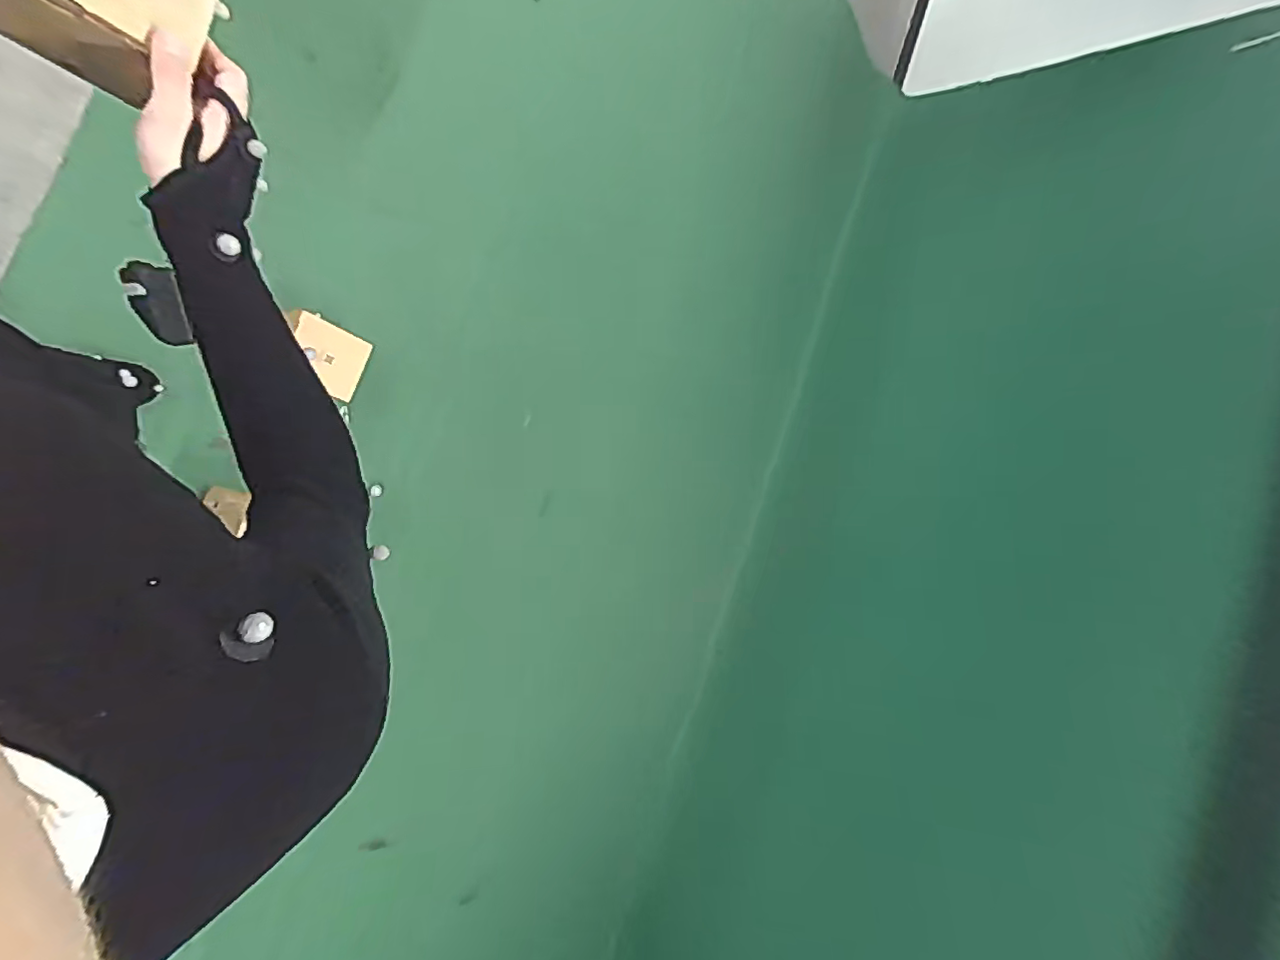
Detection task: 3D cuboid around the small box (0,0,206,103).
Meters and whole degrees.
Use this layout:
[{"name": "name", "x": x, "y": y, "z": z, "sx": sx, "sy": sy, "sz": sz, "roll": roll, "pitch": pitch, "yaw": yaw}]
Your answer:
[{"name": "small box", "x": -0.424, "y": -0.423, "z": 0.396, "sx": 0.168, "sy": 0.176, "sz": 0.179, "roll": 15, "pitch": 92, "yaw": -50}]

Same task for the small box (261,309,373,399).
[{"name": "small box", "x": -0.834, "y": -0.326, "z": 1.394, "sx": 0.179, "sy": 0.176, "sz": 0.168, "roll": 26, "pitch": 81, "yaw": -48}]
